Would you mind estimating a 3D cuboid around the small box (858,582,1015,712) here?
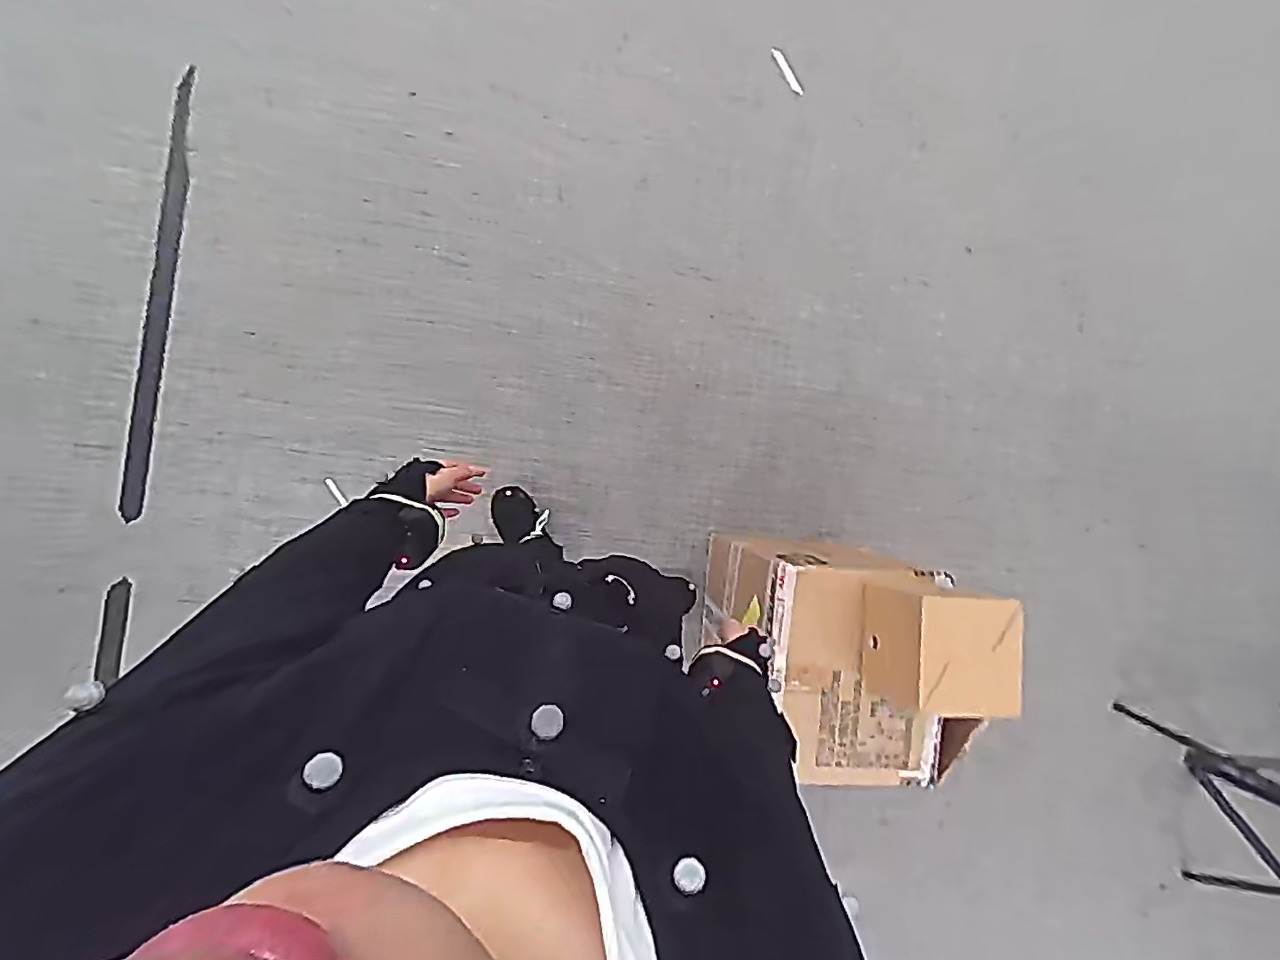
[{"bbox_3d":[0.480,0.269,0.890,0.168,0.176,0.179,4,87,-7],"label":"small box"}]
